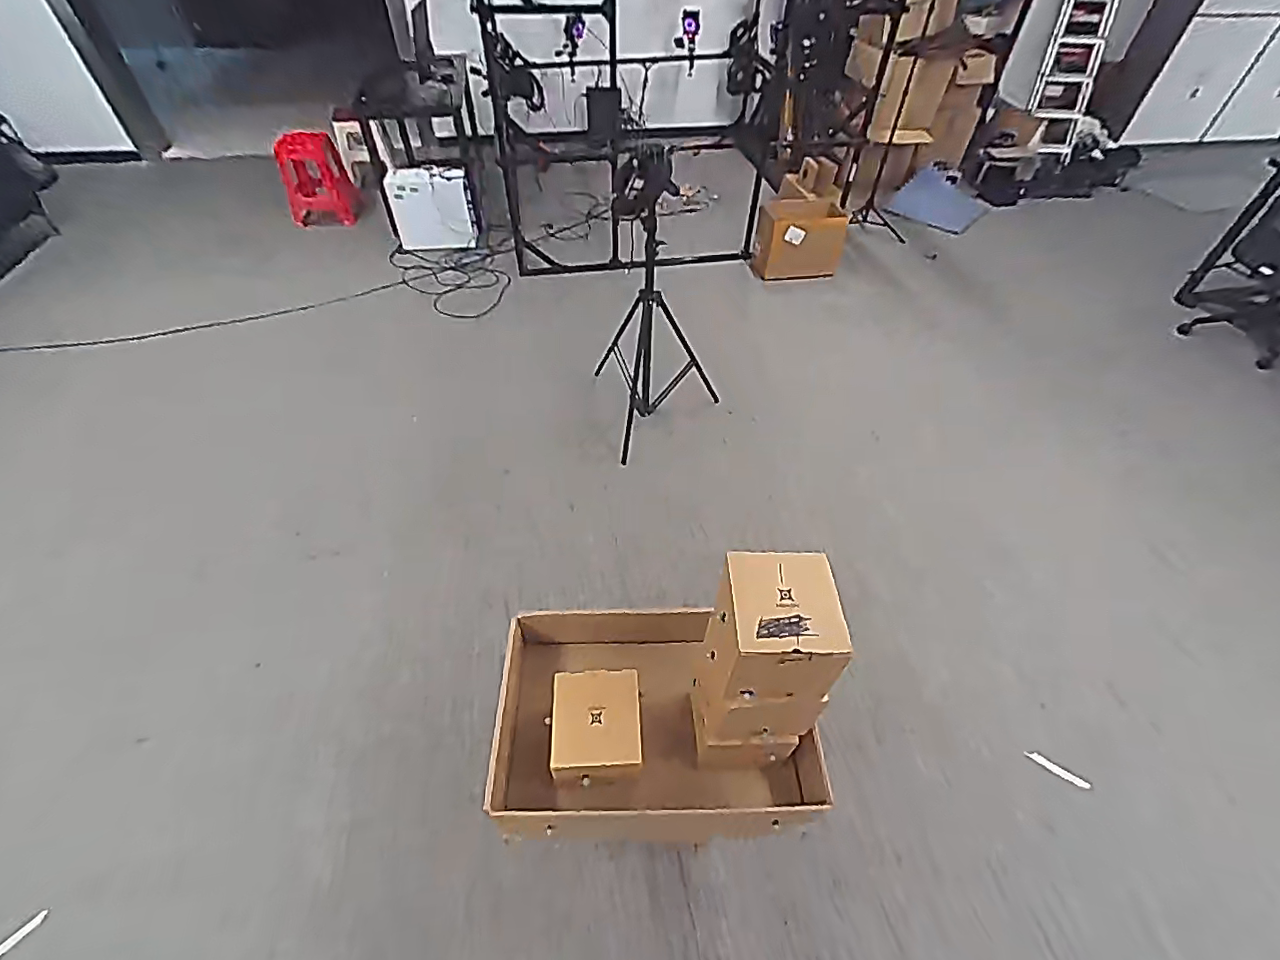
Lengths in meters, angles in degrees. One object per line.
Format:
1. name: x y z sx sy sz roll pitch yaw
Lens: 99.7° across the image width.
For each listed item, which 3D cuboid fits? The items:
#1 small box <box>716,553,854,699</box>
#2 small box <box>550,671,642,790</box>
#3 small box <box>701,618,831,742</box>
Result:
1. small box: 0.219 0.237 0.865 0.168 0.176 0.179 1 47 -1
2. small box: -0.082 0.498 1.067 0.168 0.176 0.179 -1 47 -3
3. small box: 0.216 0.360 0.976 0.179 0.176 0.168 -1 47 -4
